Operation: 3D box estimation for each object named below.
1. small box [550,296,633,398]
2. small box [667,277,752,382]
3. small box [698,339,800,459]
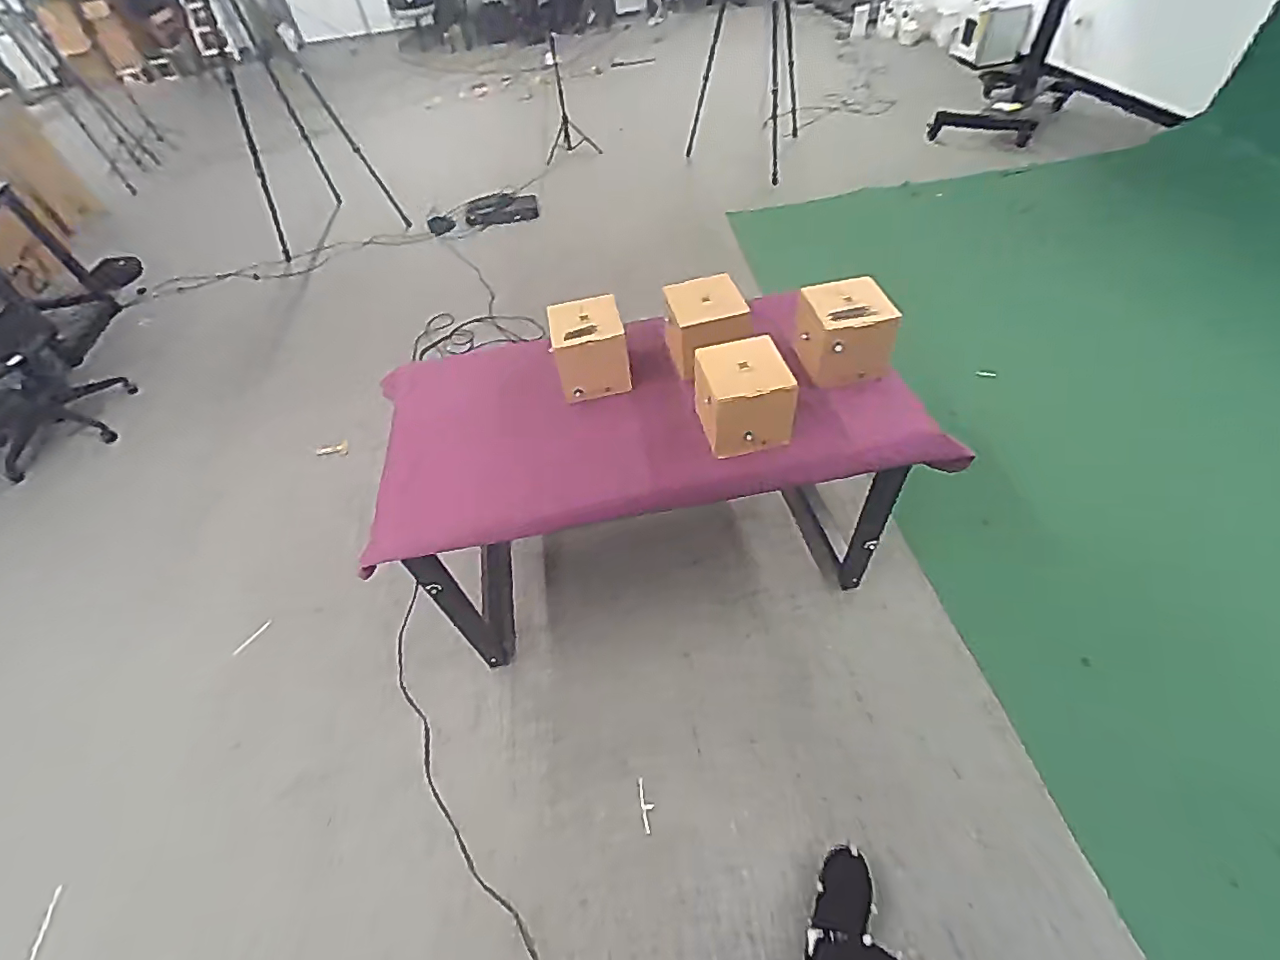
[{"bbox_3d":[-0.115,-0.316,1.314,0.168,0.176,0.179,-11,50,-3],"label":"small box"},{"bbox_3d":[0.165,-0.368,1.327,0.168,0.176,0.179,-12,52,-3],"label":"small box"},{"bbox_3d":[0.222,-0.173,1.159,0.168,0.176,0.179,-11,50,-3],"label":"small box"}]
